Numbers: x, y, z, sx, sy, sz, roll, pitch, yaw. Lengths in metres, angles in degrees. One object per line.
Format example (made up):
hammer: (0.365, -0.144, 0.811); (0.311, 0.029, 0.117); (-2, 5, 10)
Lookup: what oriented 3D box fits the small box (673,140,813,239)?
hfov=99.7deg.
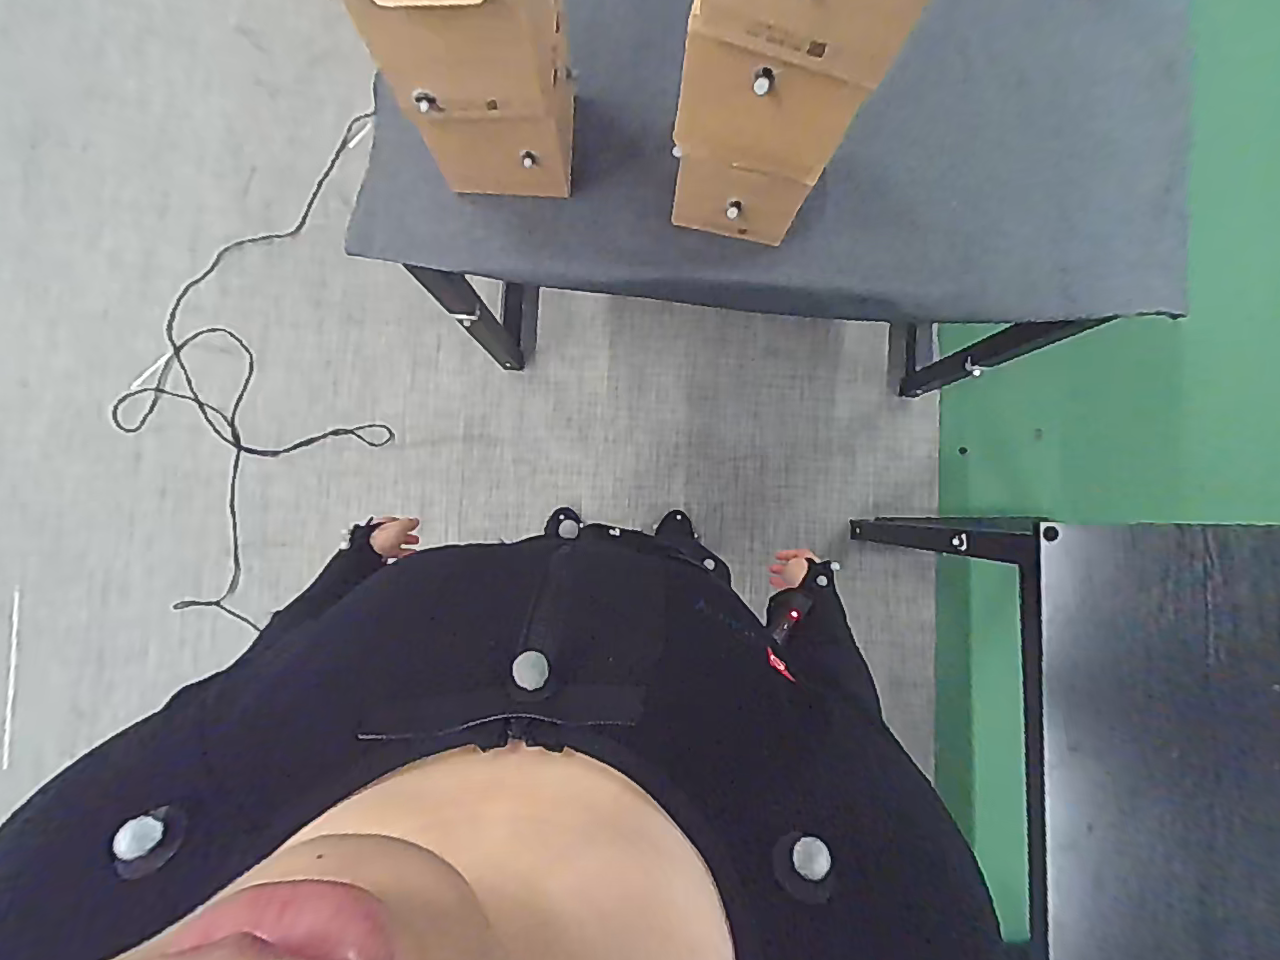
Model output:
small box: (0.141, -0.450, 0.718); (0.168, 0.176, 0.179); (11, 87, 0)

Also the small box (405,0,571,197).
small box: (-0.188, -0.502, 0.719); (0.179, 0.176, 0.168); (1, 85, 0)

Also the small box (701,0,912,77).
small box: (0.146, -0.447, 0.389); (0.168, 0.176, 0.179); (18, 87, 1)

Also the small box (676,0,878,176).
small box: (0.145, -0.450, 0.554); (0.179, 0.176, 0.168); (17, 87, 1)
